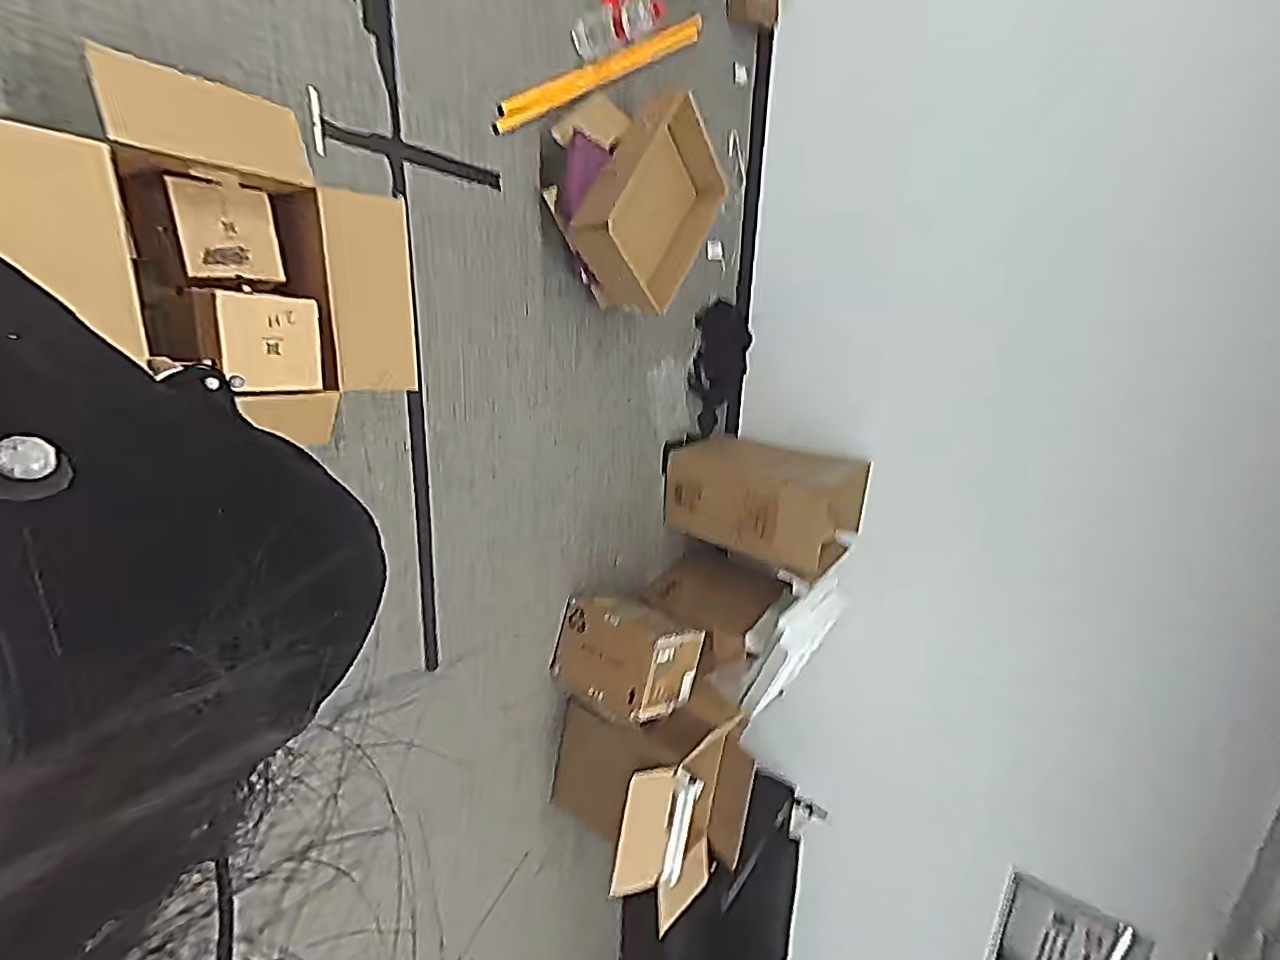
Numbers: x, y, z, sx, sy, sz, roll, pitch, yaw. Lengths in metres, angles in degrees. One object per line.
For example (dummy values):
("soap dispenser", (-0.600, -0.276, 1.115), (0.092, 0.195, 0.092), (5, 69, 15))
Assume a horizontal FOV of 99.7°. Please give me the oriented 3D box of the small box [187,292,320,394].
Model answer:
("small box", (-0.753, -0.266, 1.057), (0.168, 0.176, 0.179), (-14, 113, -52))
